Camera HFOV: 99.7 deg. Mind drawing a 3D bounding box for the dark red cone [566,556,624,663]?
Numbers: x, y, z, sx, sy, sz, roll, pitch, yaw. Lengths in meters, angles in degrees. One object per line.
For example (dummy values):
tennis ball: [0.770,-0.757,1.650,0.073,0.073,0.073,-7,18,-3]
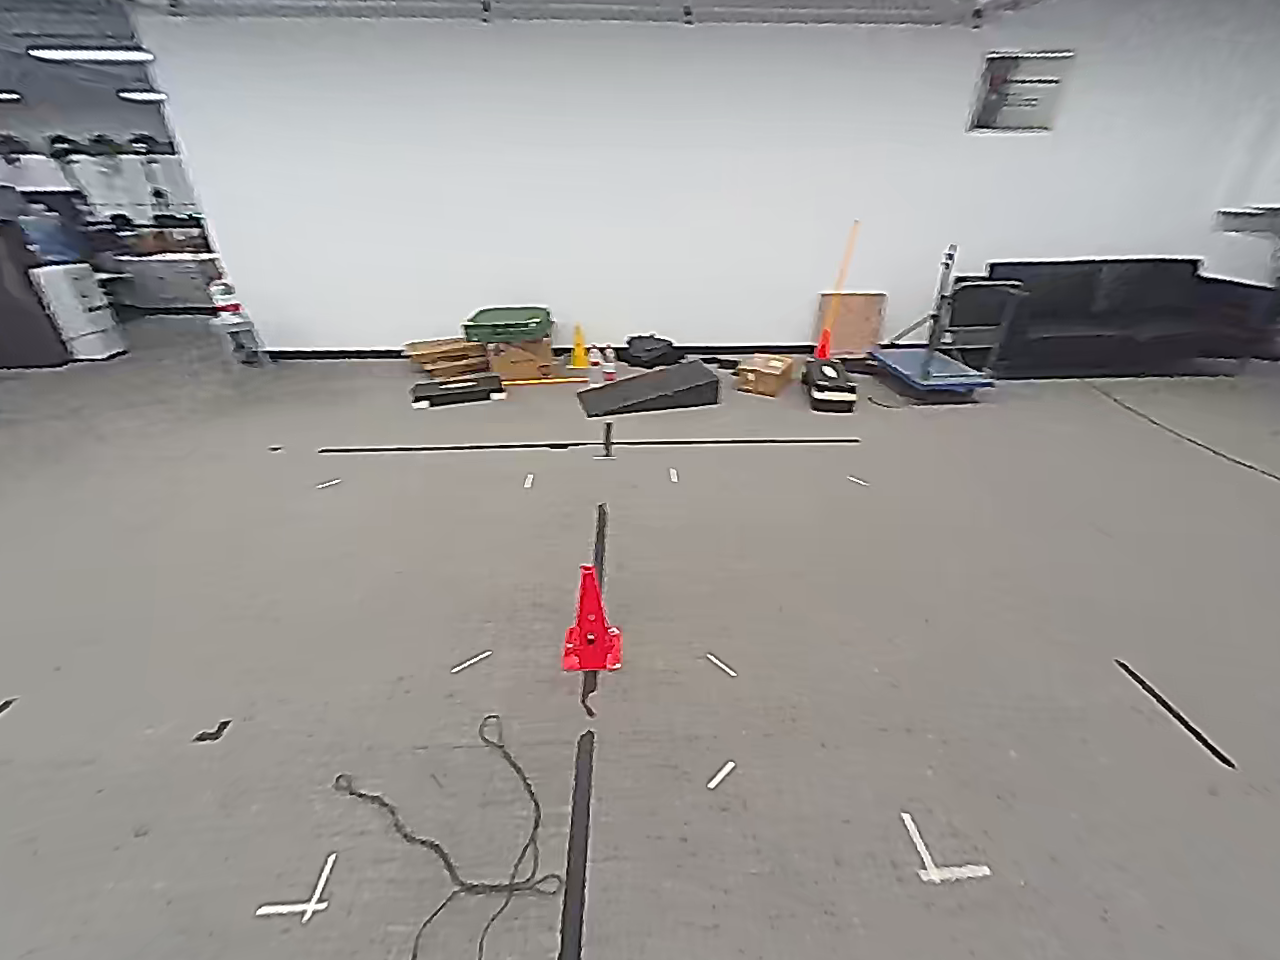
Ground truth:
dark red cone: [-0.160,0.419,1.819,0.201,0.394,0.202,-2,30,-1]
